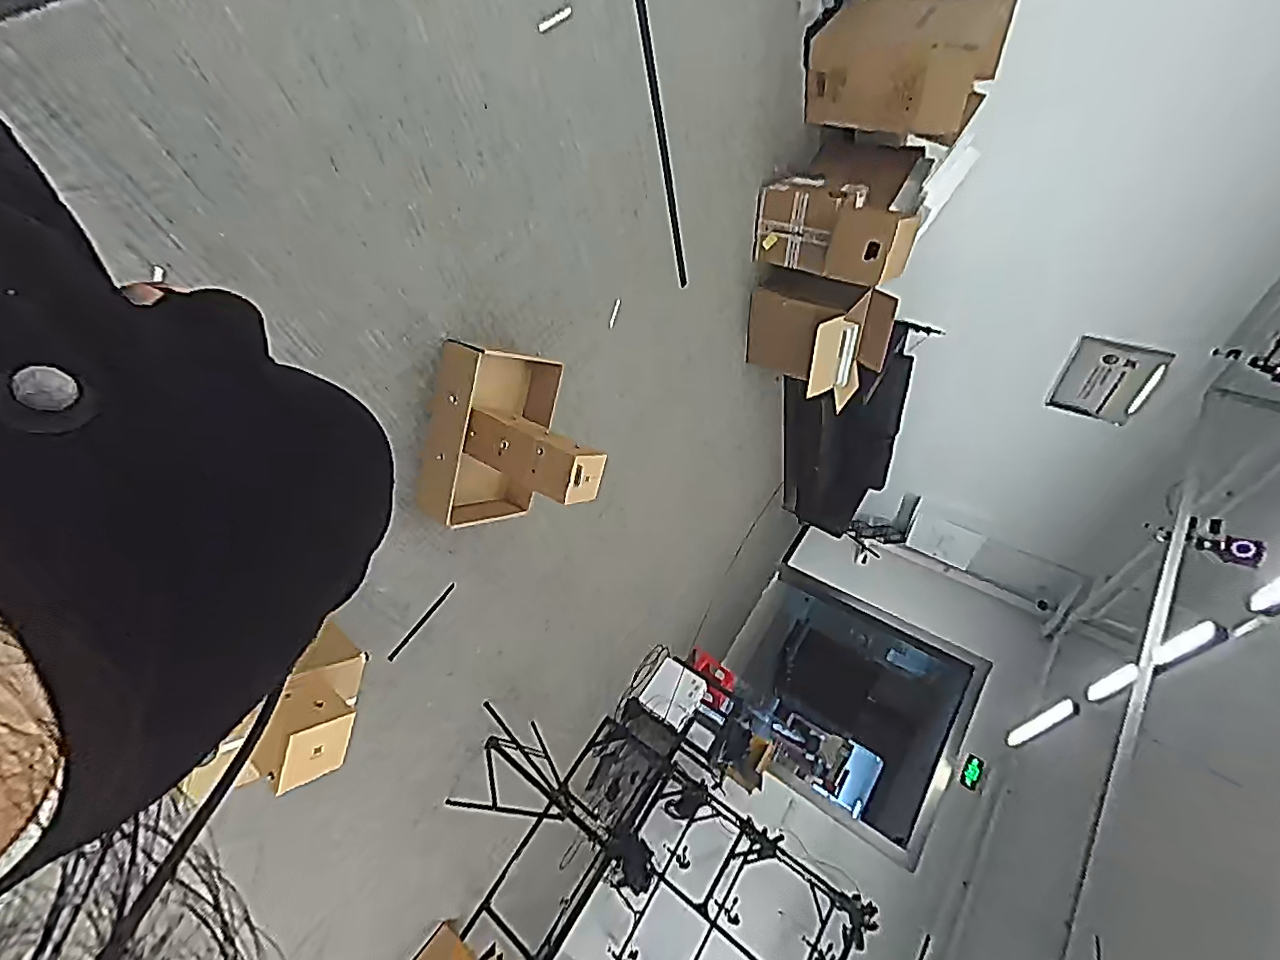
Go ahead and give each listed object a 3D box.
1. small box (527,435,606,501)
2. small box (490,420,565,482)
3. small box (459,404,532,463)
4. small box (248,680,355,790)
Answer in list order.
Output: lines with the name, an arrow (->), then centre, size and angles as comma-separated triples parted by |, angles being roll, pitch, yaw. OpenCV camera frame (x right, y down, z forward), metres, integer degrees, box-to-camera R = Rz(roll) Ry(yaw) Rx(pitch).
small box -> -0.244, -0.044, 1.780 | 0.179, 0.176, 0.168 | -9, 120, -59
small box -> -0.379, -0.104, 1.852 | 0.179, 0.176, 0.168 | -6, 116, -58
small box -> -0.510, -0.165, 1.926 | 0.179, 0.176, 0.168 | -4, 115, -59
small box -> -0.876, 0.643, 1.396 | 0.168, 0.176, 0.179 | 0, 112, -59
